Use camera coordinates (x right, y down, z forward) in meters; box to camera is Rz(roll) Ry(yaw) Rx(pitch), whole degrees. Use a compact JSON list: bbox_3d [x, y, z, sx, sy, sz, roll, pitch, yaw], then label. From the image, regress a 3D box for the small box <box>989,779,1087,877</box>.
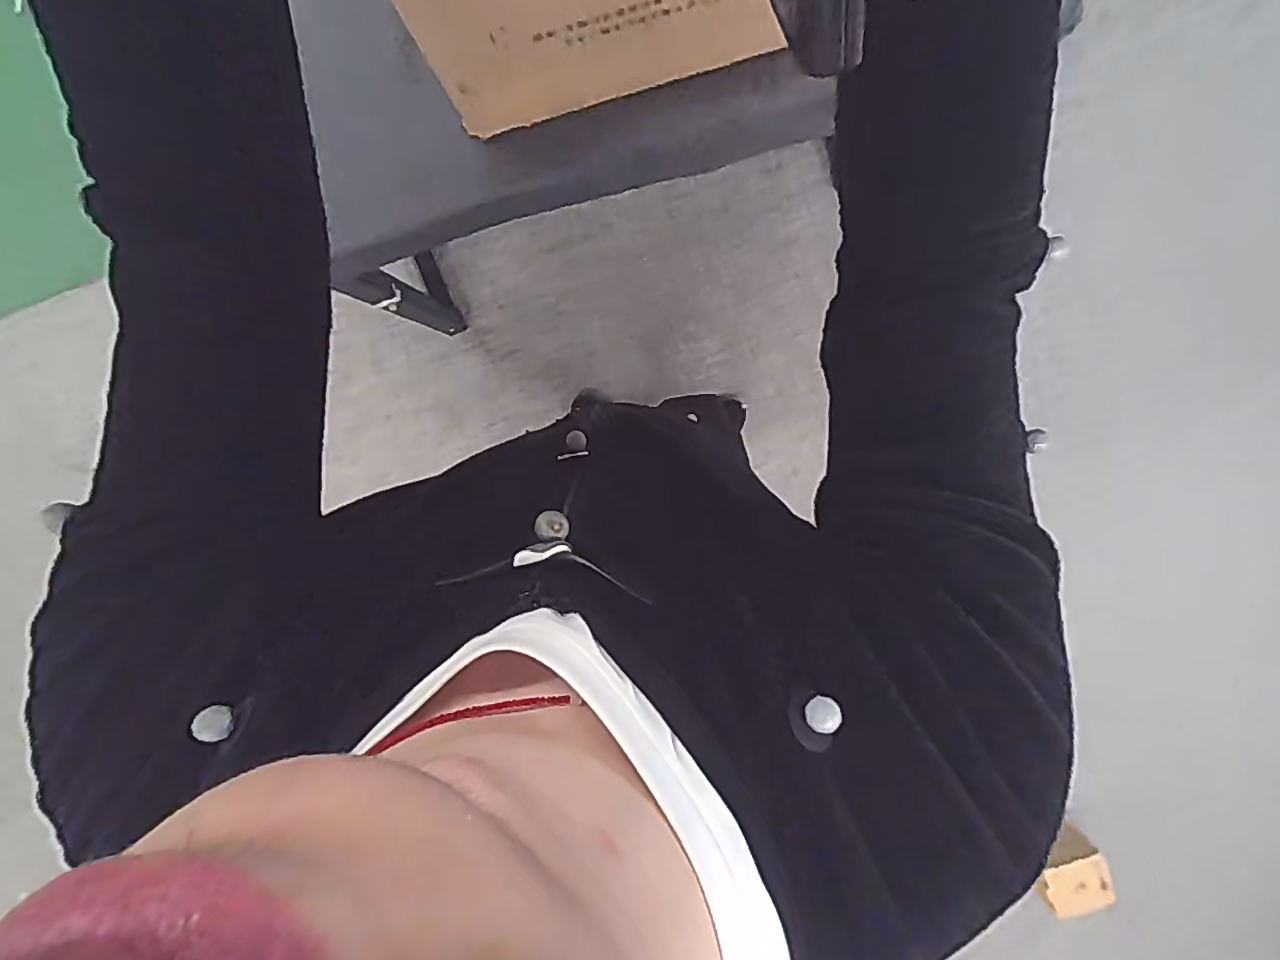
[{"bbox_3d":[1.244,1.092,1.708,0.179,0.176,0.168,-22,98,1],"label":"small box"}]
